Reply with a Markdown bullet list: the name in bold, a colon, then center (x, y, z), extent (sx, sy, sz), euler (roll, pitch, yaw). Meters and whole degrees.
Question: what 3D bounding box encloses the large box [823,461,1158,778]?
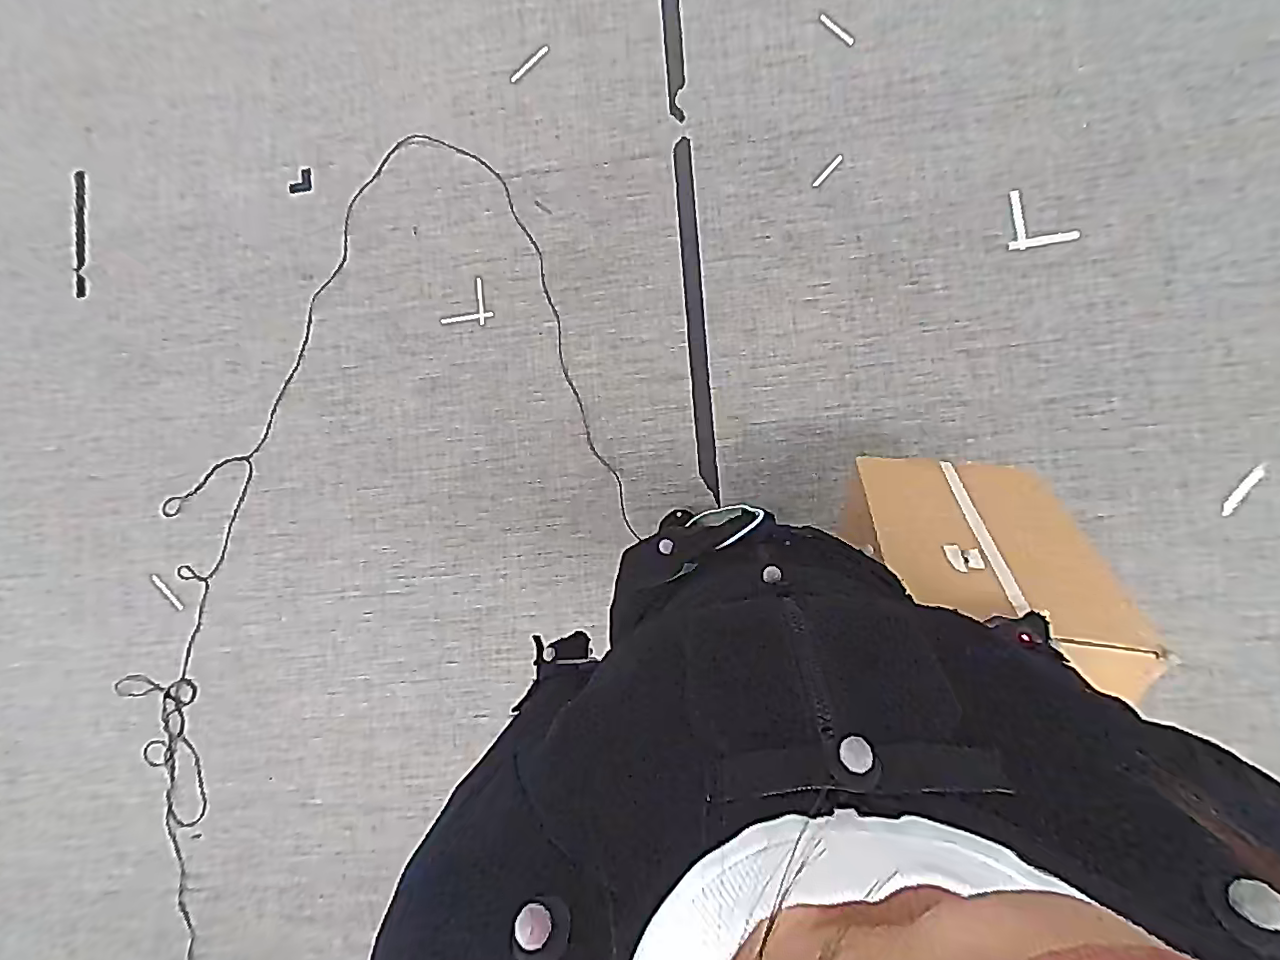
- **large box**: center (0.514, 0.212, 0.921), extent (0.320, 0.408, 0.320), euler (4, 126, 10)
